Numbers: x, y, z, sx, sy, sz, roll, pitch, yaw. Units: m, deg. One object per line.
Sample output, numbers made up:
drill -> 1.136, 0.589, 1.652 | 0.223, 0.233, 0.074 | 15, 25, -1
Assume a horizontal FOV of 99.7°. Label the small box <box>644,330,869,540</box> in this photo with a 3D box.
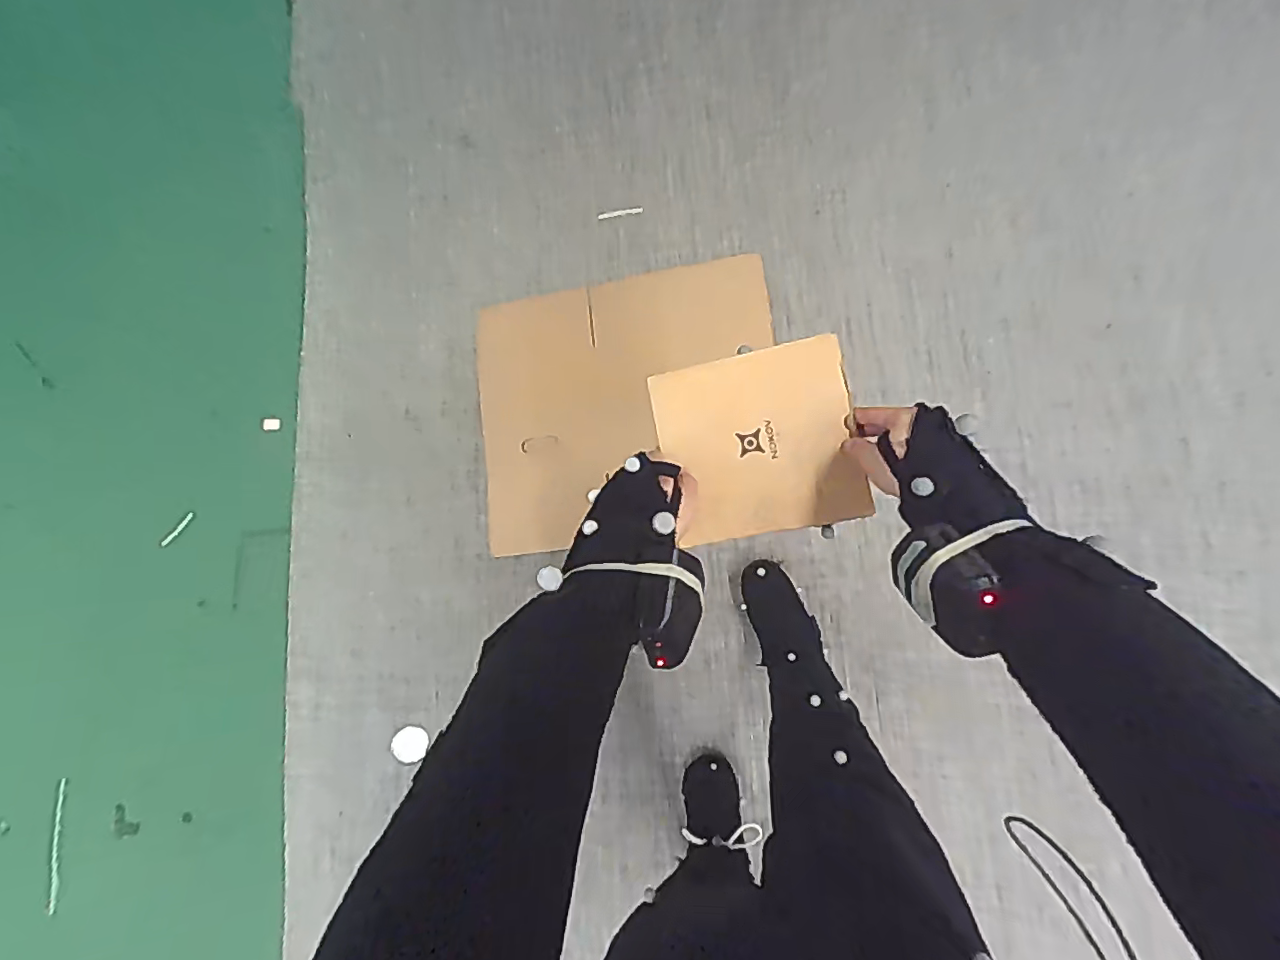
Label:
small box -> 0.118, -0.032, 0.564 | 0.179, 0.176, 0.168 | -12, 84, 11
